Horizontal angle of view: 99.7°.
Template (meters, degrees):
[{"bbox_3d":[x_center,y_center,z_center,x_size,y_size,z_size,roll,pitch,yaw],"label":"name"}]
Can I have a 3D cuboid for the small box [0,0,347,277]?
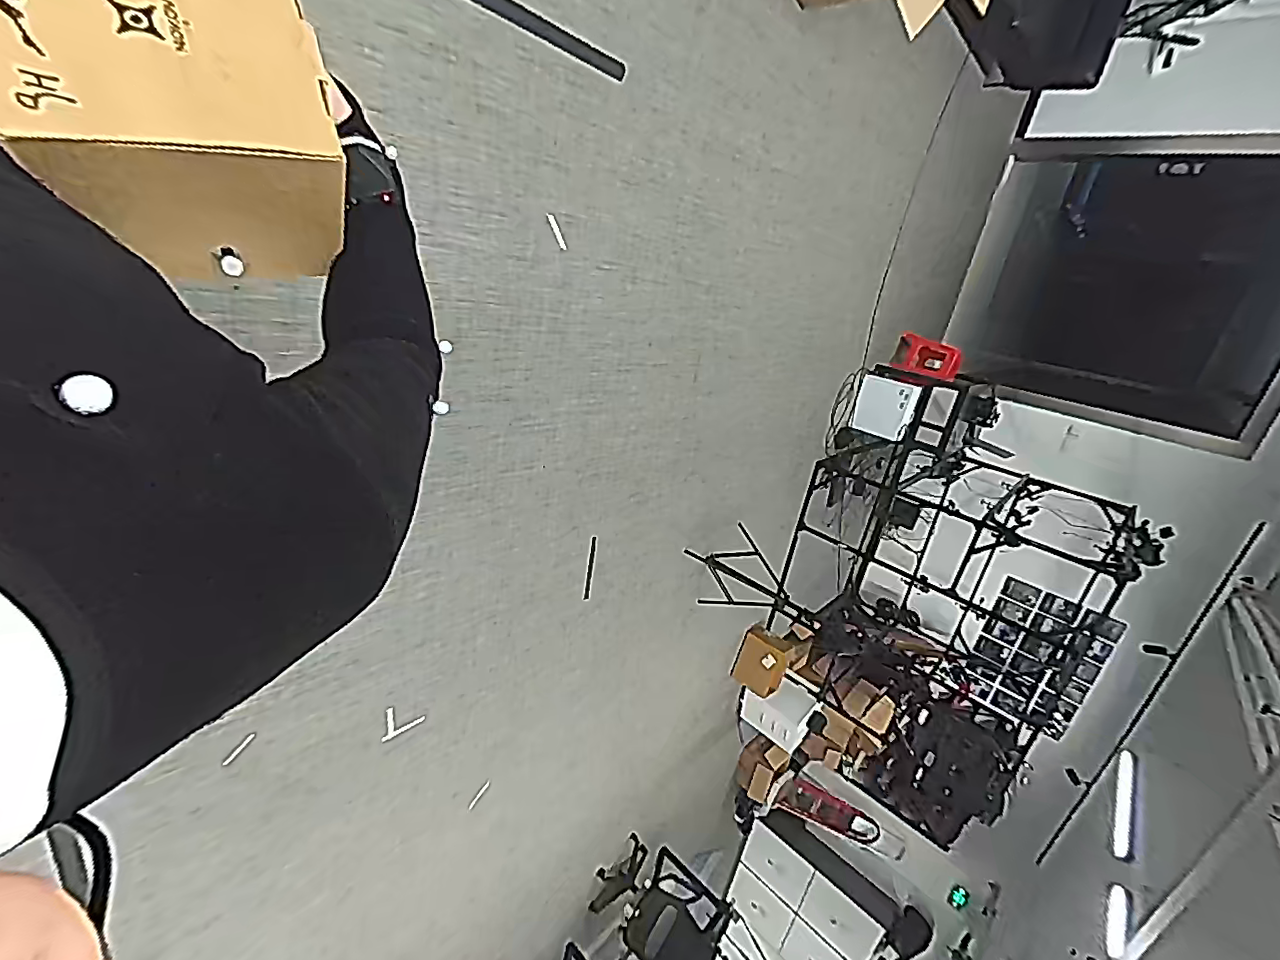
[{"bbox_3d":[-0.350,-0.275,0.423,0.179,0.176,0.168,-16,88,-32],"label":"small box"}]
